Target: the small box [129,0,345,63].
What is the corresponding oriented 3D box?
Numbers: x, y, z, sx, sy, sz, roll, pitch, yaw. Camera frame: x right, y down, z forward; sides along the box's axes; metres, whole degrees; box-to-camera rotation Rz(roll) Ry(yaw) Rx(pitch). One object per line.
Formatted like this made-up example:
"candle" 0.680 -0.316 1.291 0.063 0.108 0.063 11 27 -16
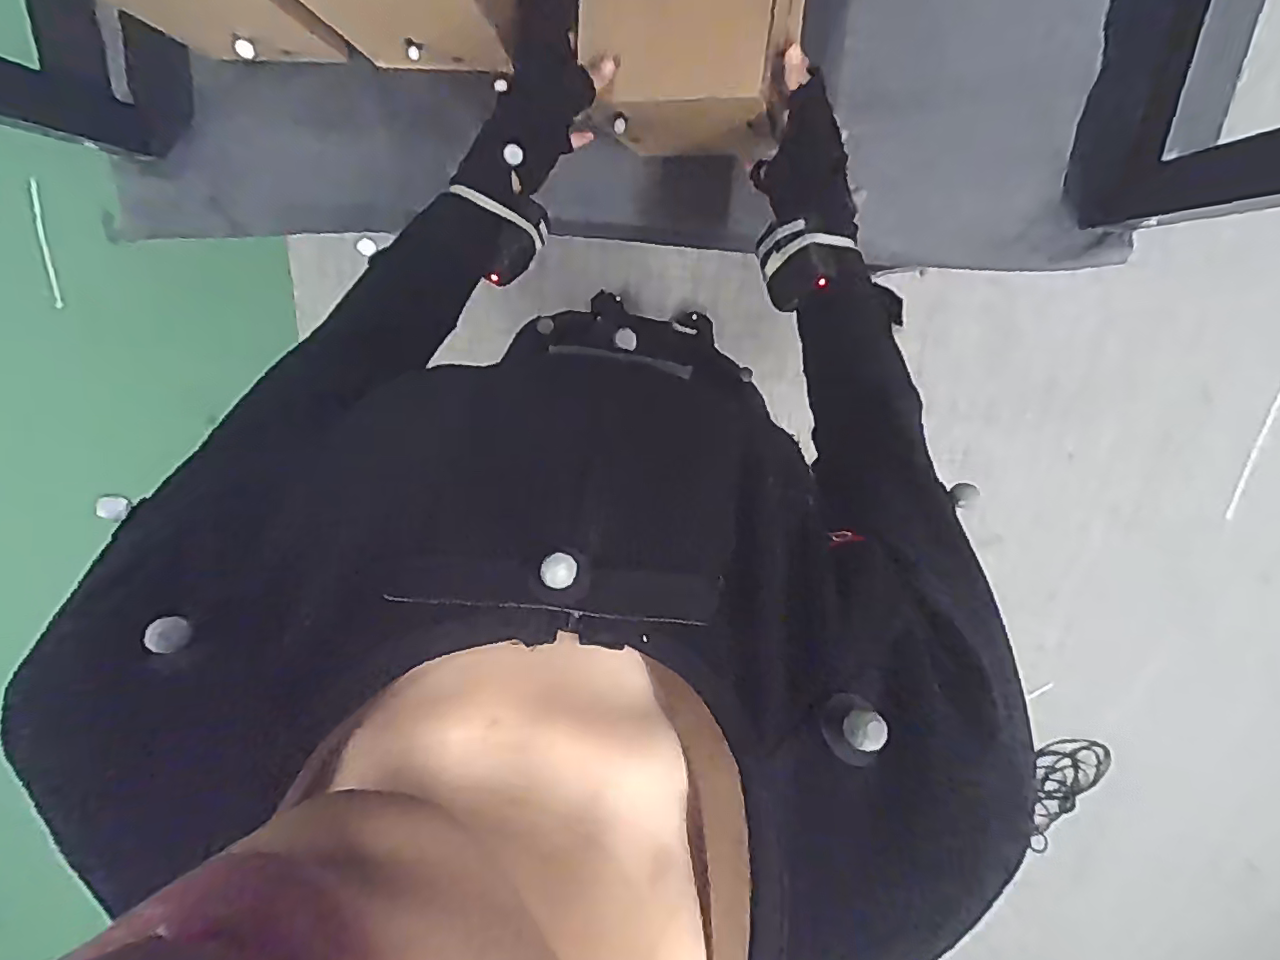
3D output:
"small box" -0.408 -0.534 0.508 0.168 0.176 0.179 4 108 3
